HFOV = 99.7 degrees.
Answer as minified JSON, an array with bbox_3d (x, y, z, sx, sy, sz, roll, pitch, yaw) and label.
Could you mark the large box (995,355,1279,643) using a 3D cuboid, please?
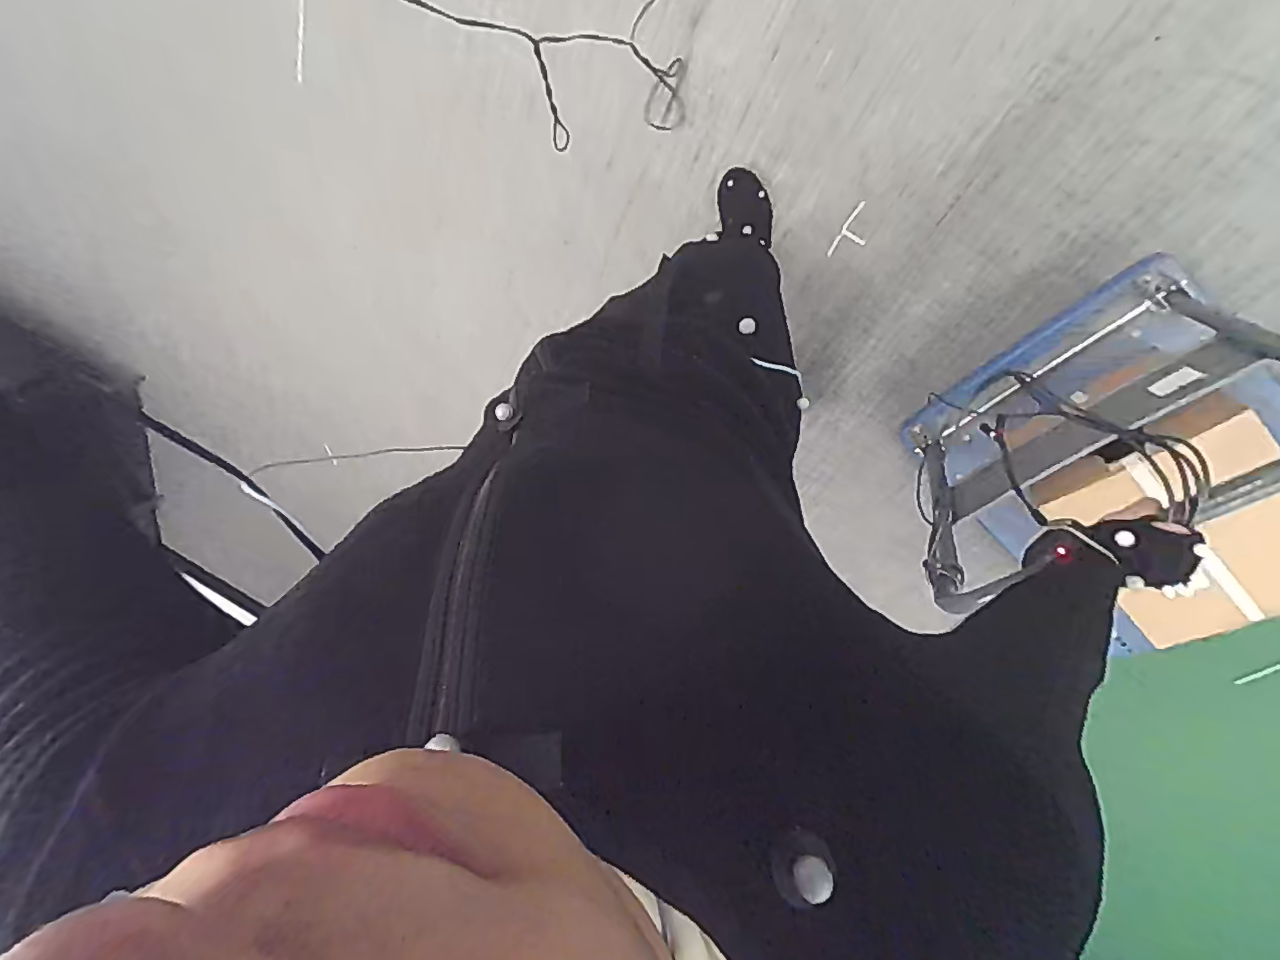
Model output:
[{"bbox_3d":[0.998,0.033,1.064,0.408,0.320,0.320,45,125,-10],"label":"large box"}]
